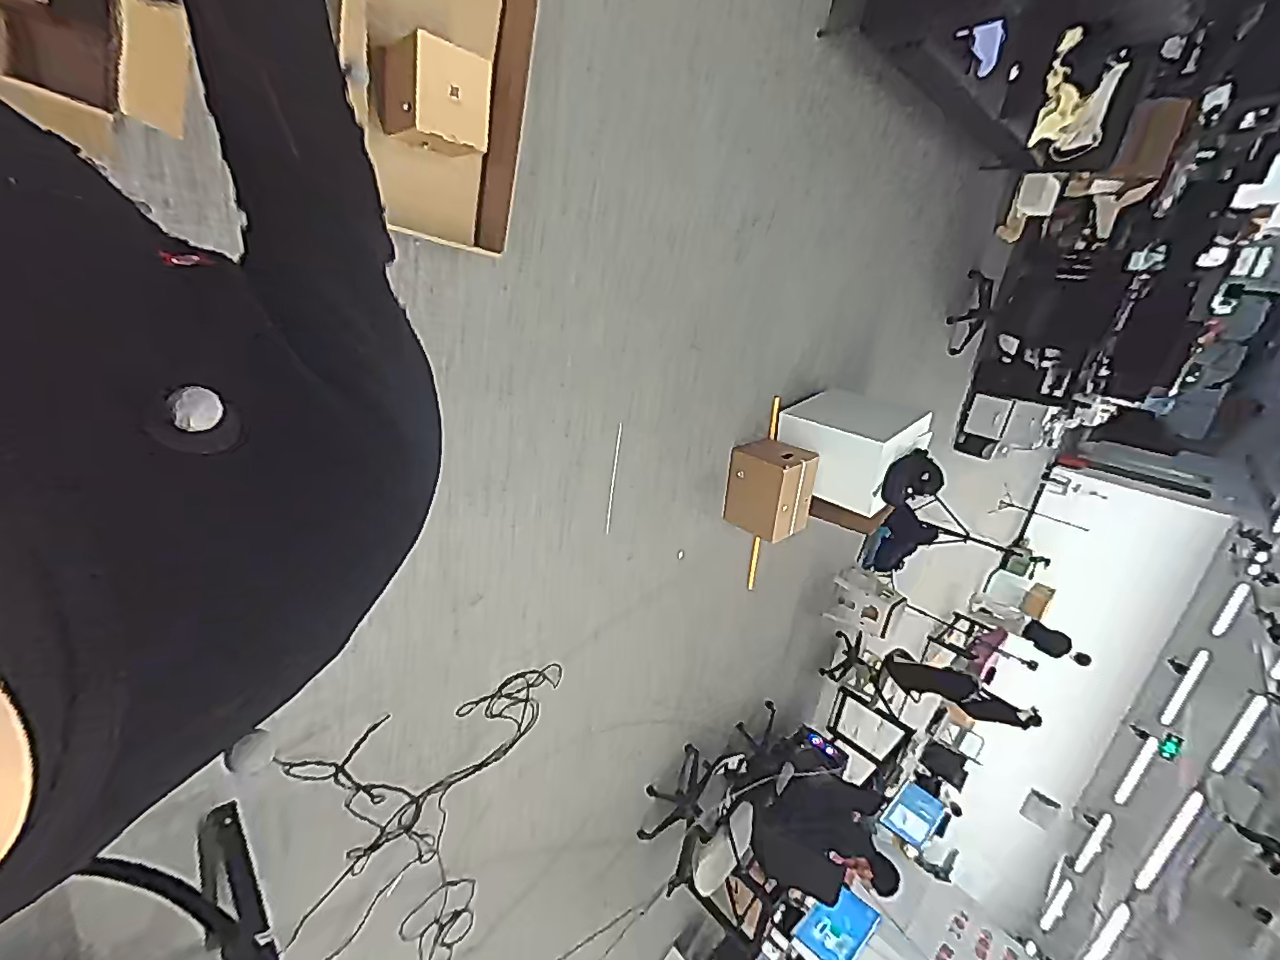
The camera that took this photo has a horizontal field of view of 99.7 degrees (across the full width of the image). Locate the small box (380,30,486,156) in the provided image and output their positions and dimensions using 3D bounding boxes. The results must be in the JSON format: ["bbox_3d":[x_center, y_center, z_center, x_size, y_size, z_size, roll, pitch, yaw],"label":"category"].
[{"bbox_3d":[-0.457,-0.833,1.186,0.168,0.176,0.179,-10,117,-44],"label":"small box"}]
